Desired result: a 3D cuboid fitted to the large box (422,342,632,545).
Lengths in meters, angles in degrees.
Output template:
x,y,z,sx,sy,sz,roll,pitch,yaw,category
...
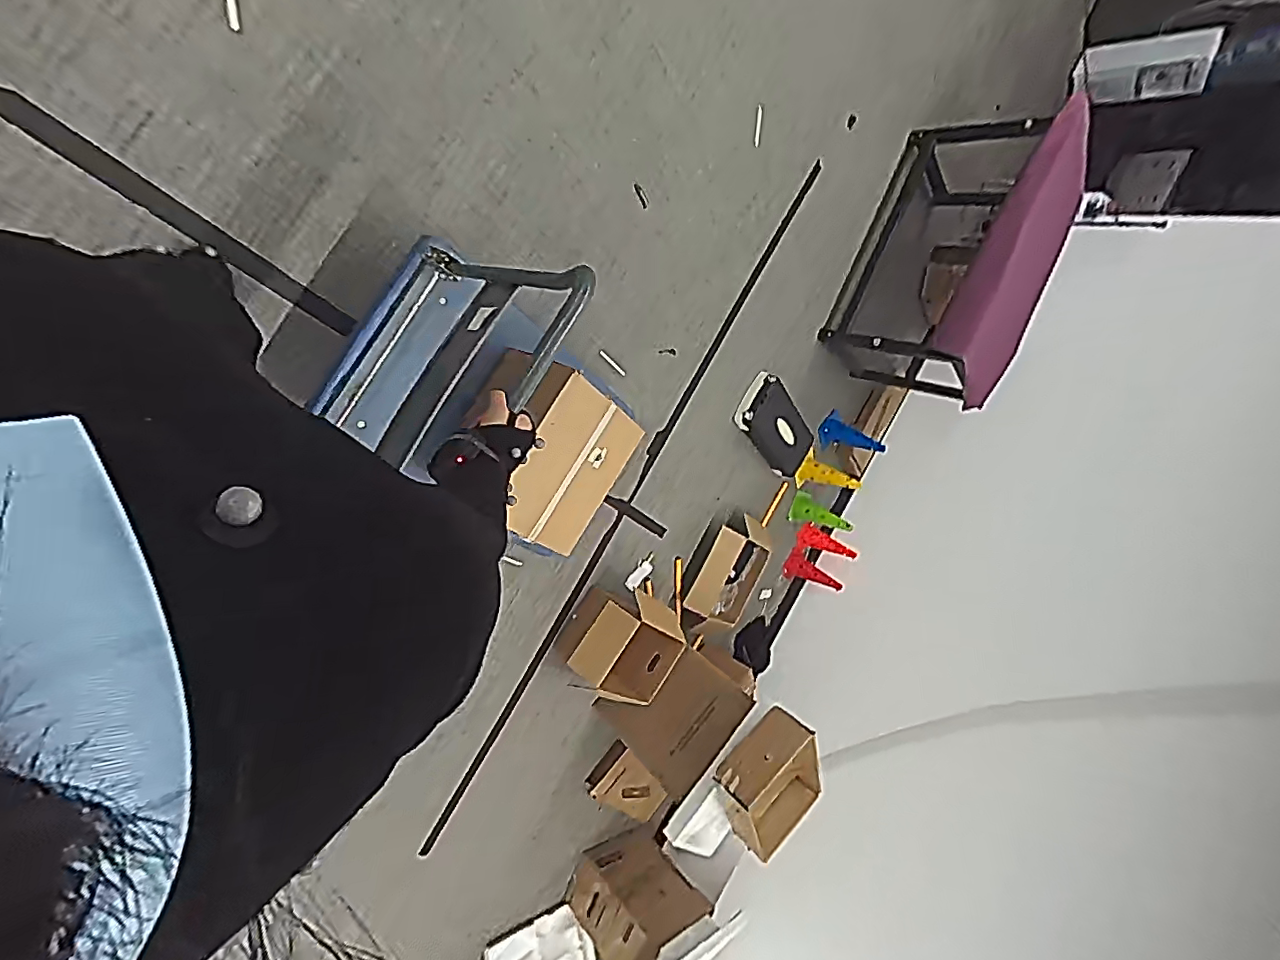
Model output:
x,y,z,sx,sy,sz,roll,pitch,yaw,category
-0.301,-0.100,1.448,0.320,0.320,0.408,38,80,-49,large box
